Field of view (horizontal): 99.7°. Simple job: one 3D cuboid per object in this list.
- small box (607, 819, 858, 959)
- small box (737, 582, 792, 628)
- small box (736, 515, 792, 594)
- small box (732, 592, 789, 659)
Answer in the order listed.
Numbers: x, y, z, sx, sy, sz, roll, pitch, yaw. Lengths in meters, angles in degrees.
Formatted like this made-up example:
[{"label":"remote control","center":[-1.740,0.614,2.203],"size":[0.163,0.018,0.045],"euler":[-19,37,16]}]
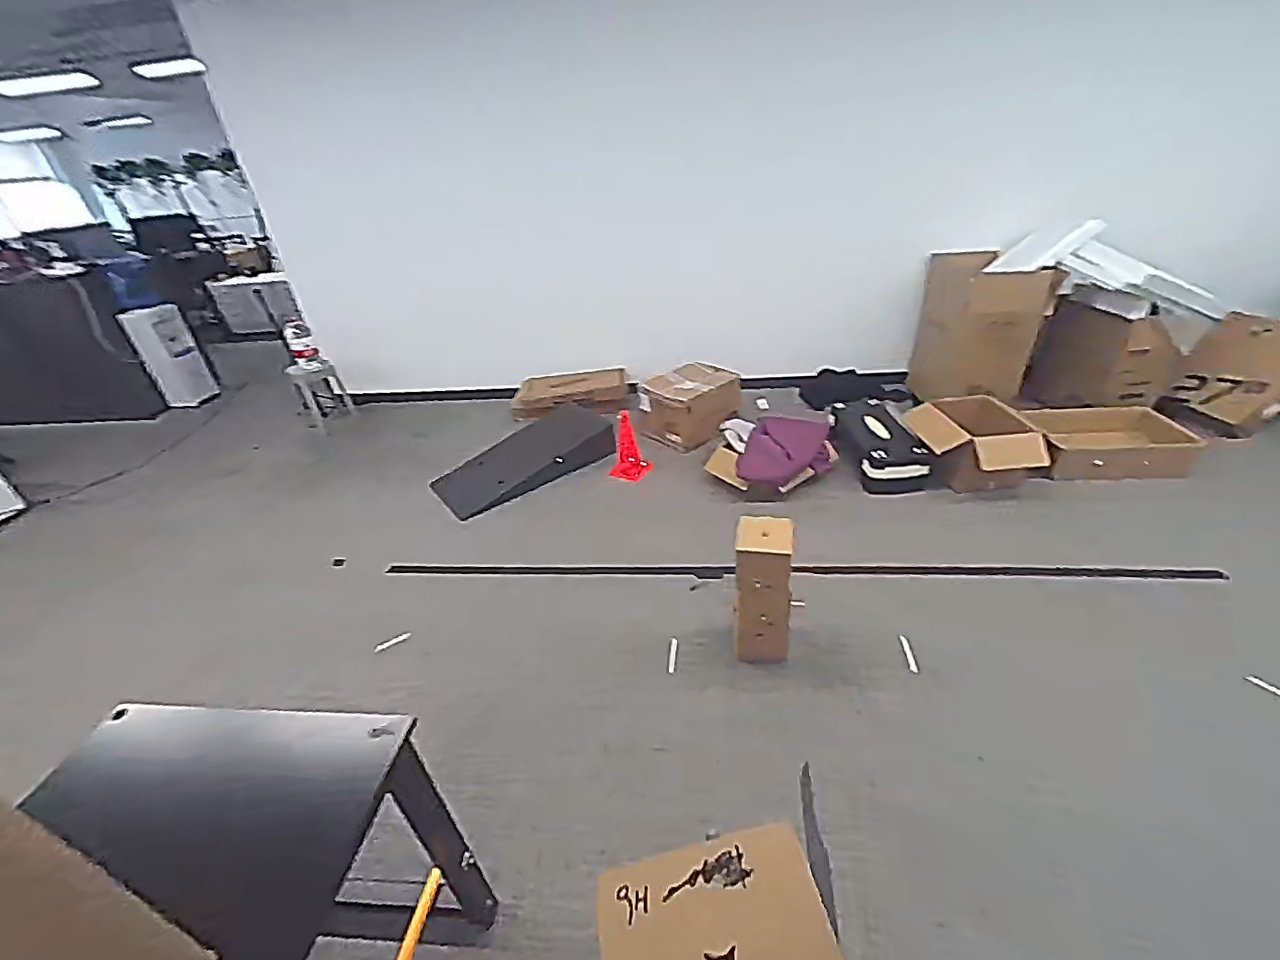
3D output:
[{"label":"small box","center":[0.080,0.398,0.409],"size":[0.168,0.176,0.179],"euler":[-14,40,-3]},{"label":"small box","center":[0.407,0.365,1.795],"size":[0.168,0.176,0.179],"euler":[-1,33,9]},{"label":"small box","center":[0.391,0.232,1.703],"size":[0.168,0.176,0.179],"euler":[2,34,14]},{"label":"small box","center":[0.416,0.505,1.882],"size":[0.179,0.176,0.168],"euler":[-2,32,5]}]
